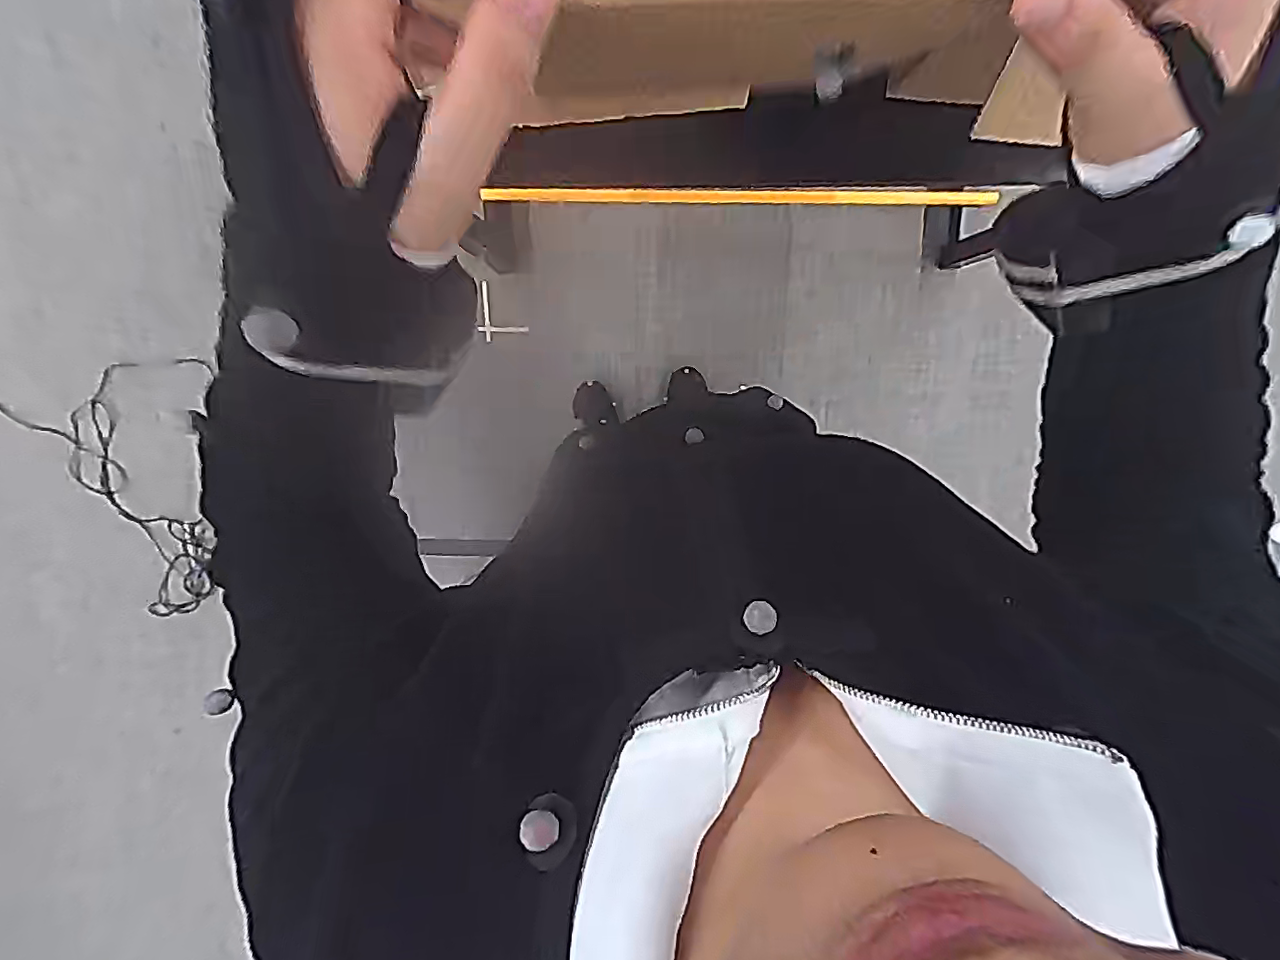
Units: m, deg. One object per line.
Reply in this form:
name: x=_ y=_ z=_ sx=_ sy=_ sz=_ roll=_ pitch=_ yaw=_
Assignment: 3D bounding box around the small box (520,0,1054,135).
small box: x=0.036 y=-0.240 z=0.208 sx=0.179 sy=0.176 sz=0.168 roll=-7 pitch=118 yaw=-4
